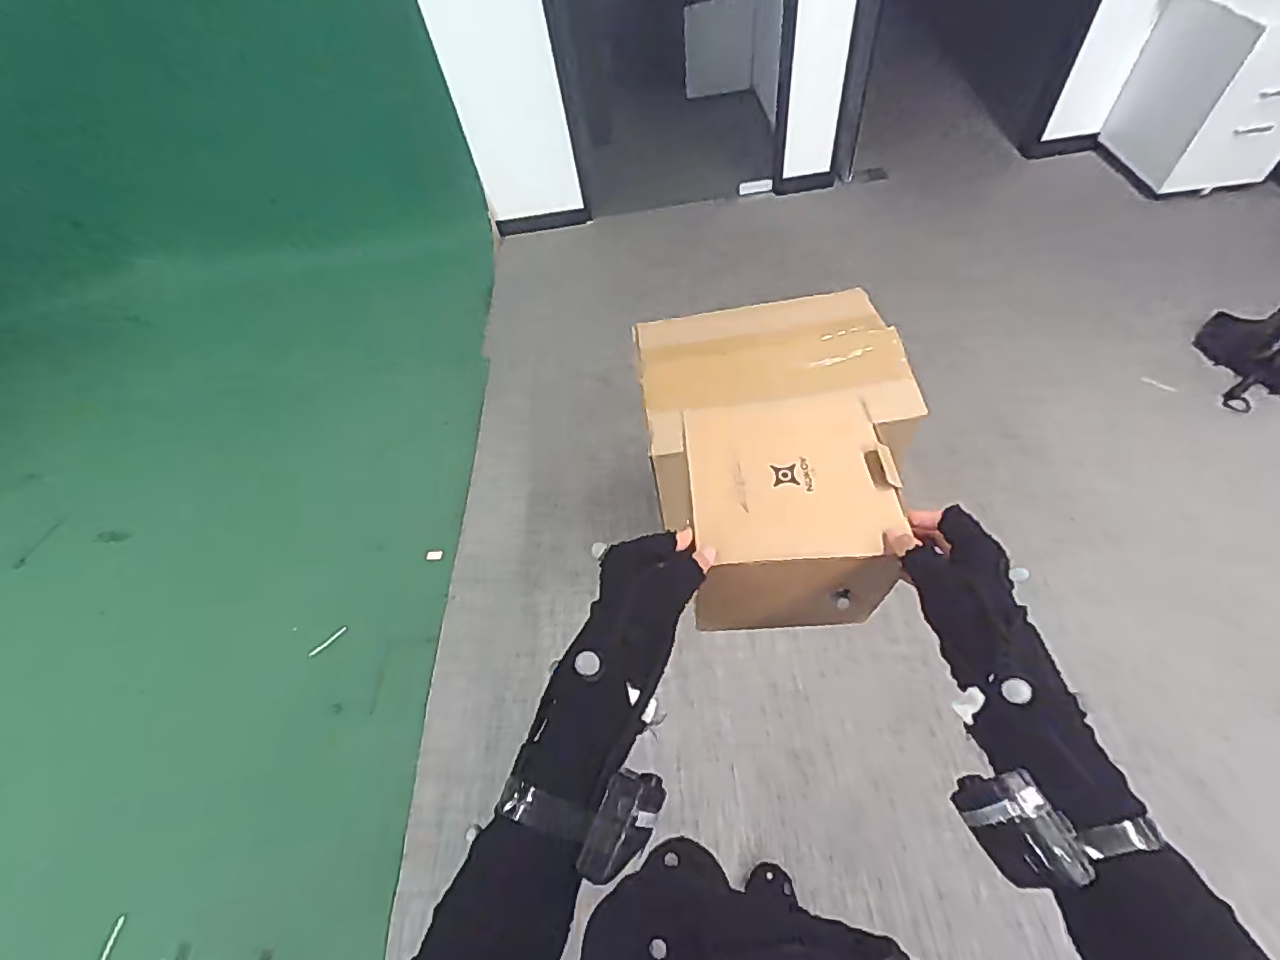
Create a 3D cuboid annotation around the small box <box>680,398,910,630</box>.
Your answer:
[{"bbox_3d":[0.135,0.041,0.545,0.179,0.176,0.168,-6,55,3],"label":"small box"}]
